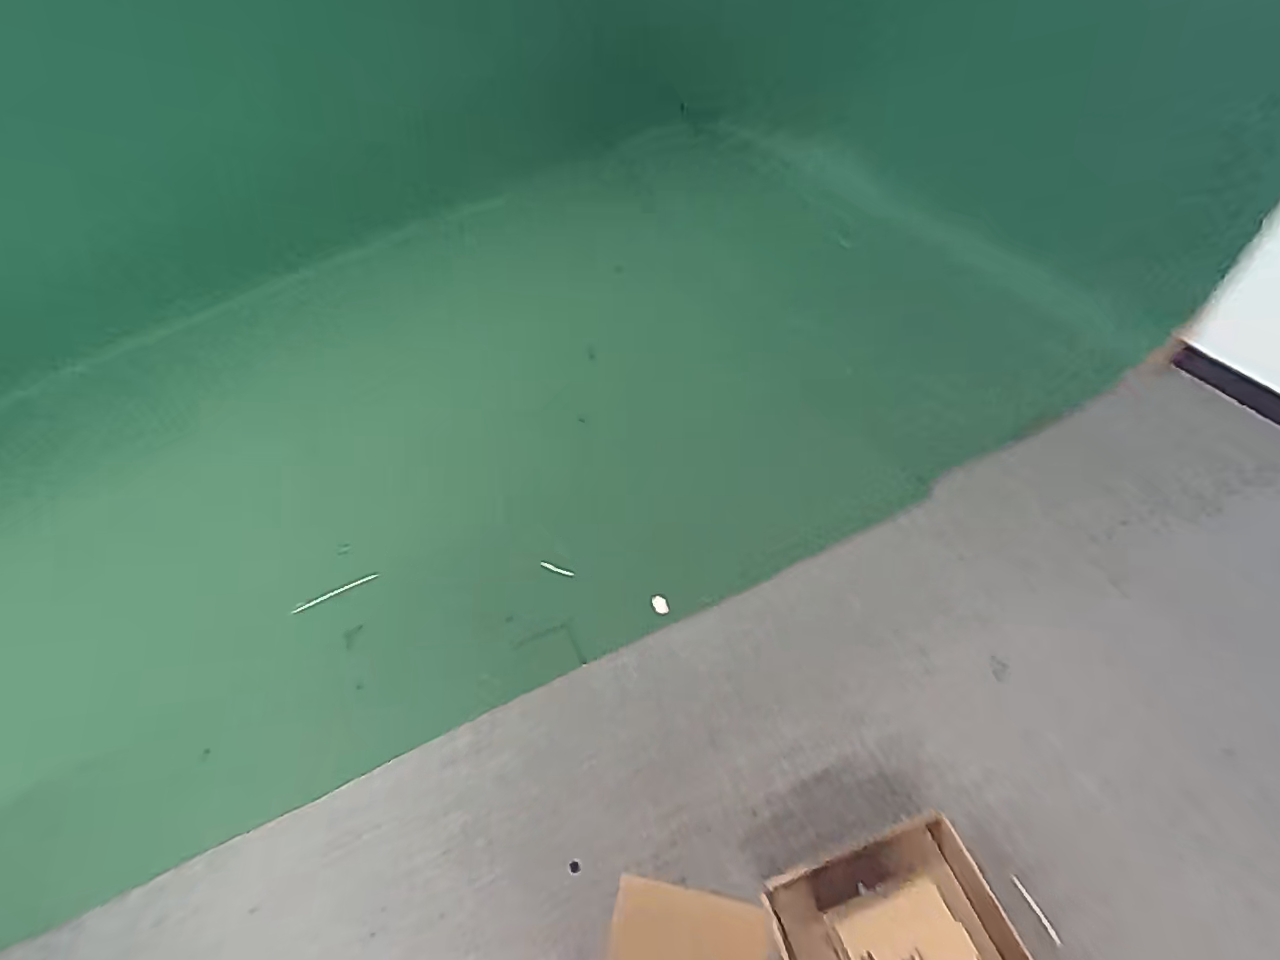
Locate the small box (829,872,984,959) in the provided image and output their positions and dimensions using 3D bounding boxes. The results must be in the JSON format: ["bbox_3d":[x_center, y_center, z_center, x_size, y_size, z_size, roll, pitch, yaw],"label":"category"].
[{"bbox_3d":[0.428,0.762,0.872,0.179,0.176,0.168,-22,51,-4],"label":"small box"}]
